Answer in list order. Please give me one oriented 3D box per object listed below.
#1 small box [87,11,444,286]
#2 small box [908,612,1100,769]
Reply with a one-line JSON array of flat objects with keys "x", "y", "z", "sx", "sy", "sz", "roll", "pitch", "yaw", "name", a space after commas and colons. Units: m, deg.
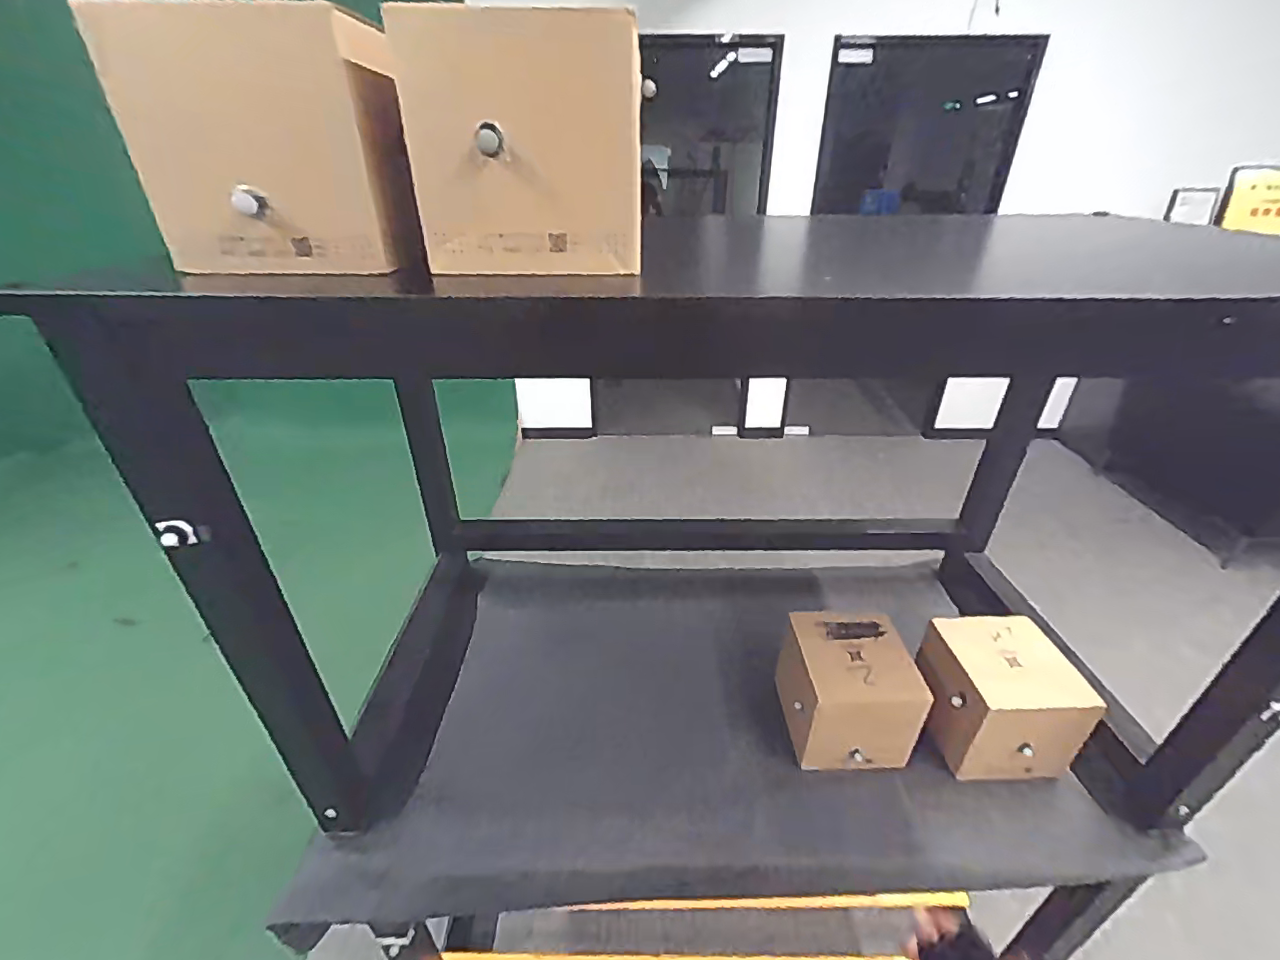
[{"x": -0.280, "y": -0.272, "z": 0.462, "sx": 0.168, "sy": 0.176, "sz": 0.179, "roll": -1, "pitch": 32, "yaw": -1, "name": "small box"}, {"x": 0.558, "y": 0.335, "z": 0.859, "sx": 0.168, "sy": 0.176, "sz": 0.179, "roll": -1, "pitch": 30, "yaw": -1, "name": "small box"}]
